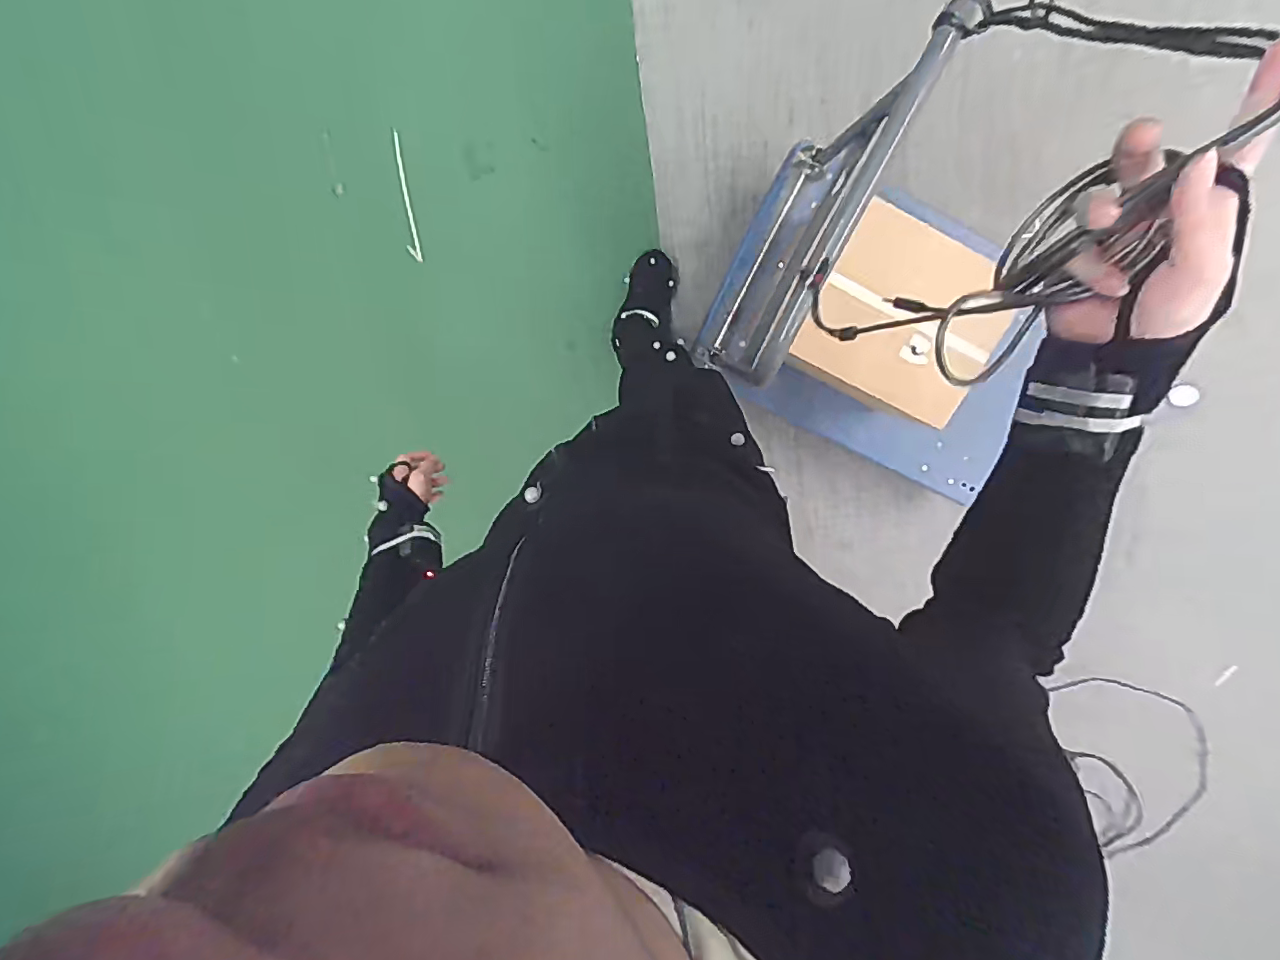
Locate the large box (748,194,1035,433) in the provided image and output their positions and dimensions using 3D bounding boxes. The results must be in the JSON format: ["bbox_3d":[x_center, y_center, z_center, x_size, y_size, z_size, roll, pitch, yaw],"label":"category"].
[{"bbox_3d":[0.502,-0.344,1.174,0.408,0.320,0.320,26,104,-6],"label":"large box"}]
